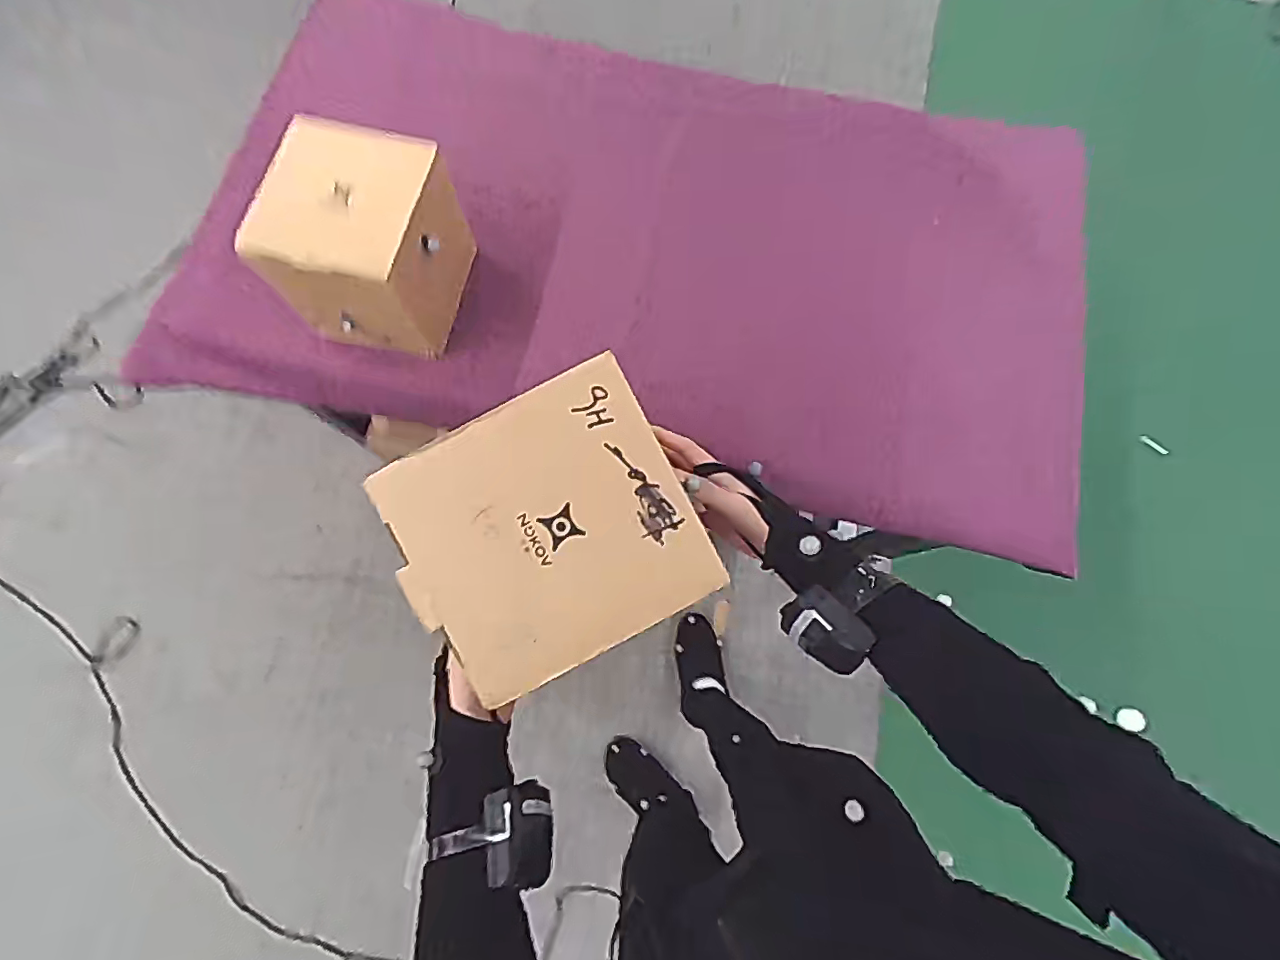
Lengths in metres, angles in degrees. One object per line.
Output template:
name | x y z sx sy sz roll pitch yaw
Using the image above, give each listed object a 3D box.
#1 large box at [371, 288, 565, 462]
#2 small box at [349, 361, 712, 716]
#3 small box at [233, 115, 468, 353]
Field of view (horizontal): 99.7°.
large box | -0.380 -0.195 1.306 0.320 0.320 0.408 11 77 1
small box | -0.067 0.035 0.410 0.179 0.176 0.168 -28 92 0
small box | -0.321 -0.281 0.646 0.168 0.176 0.179 12 75 1
